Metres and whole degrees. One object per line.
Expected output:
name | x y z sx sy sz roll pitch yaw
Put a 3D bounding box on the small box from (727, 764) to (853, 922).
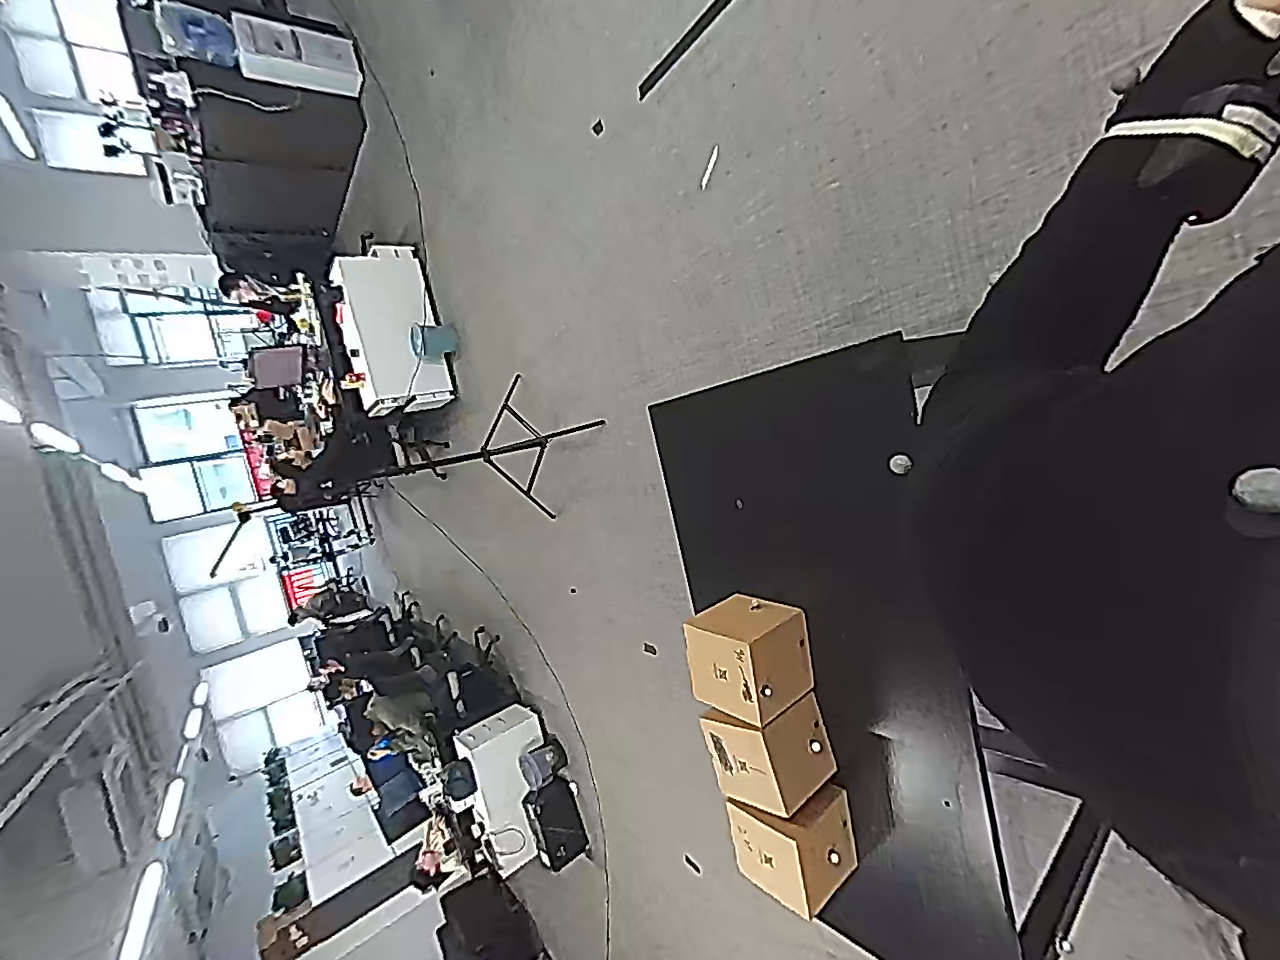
small box | 0.305 0.708 1.081 0.179 0.176 0.168 -3 99 54
